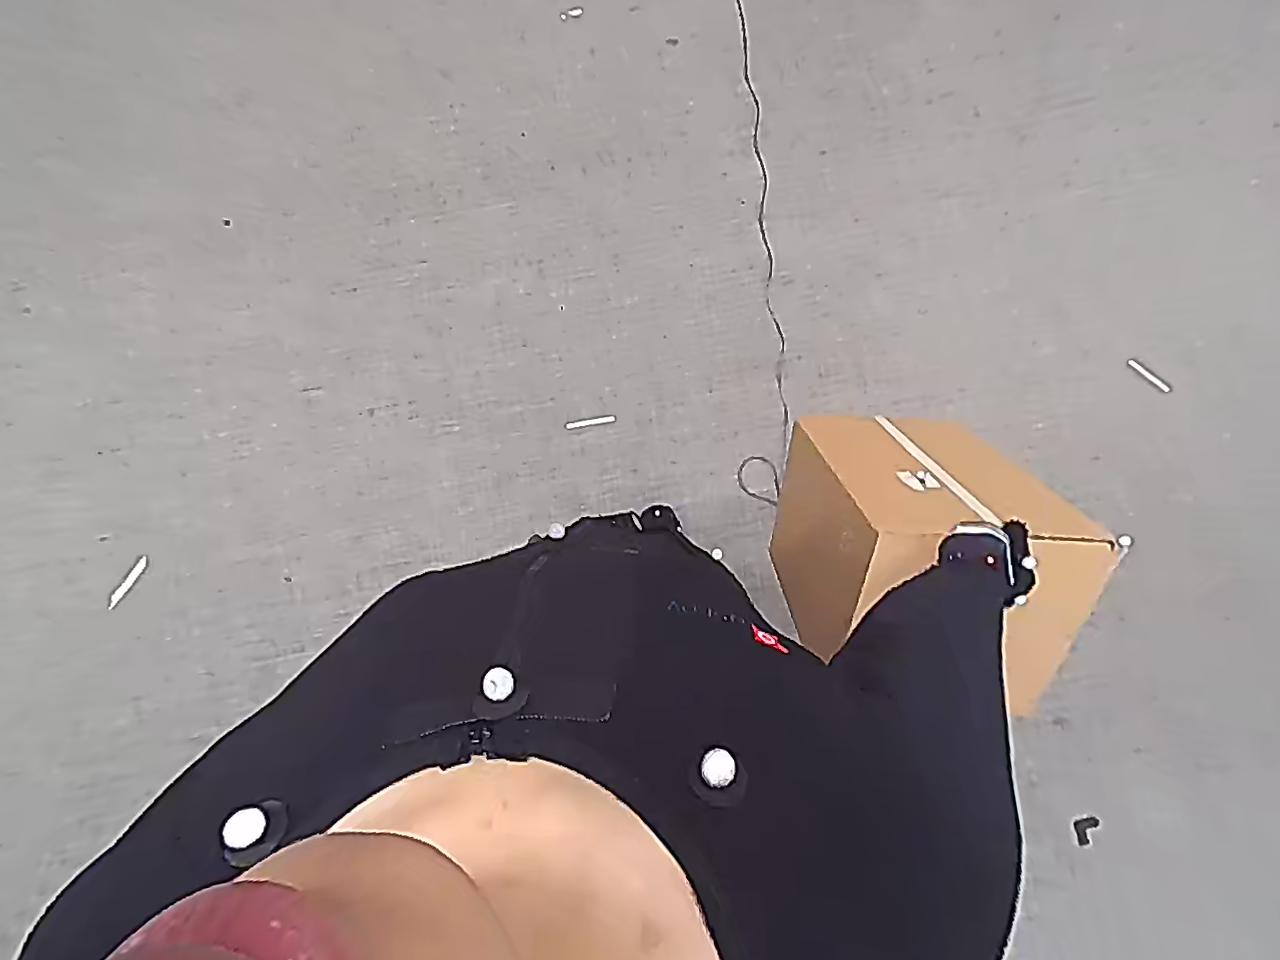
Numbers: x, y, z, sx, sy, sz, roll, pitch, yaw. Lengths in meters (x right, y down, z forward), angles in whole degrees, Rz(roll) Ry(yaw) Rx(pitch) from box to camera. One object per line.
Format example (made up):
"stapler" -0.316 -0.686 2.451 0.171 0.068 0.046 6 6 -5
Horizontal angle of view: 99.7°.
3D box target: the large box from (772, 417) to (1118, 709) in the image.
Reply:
"large box" 0.444 0.117 0.923 0.320 0.408 0.320 2 119 -1
